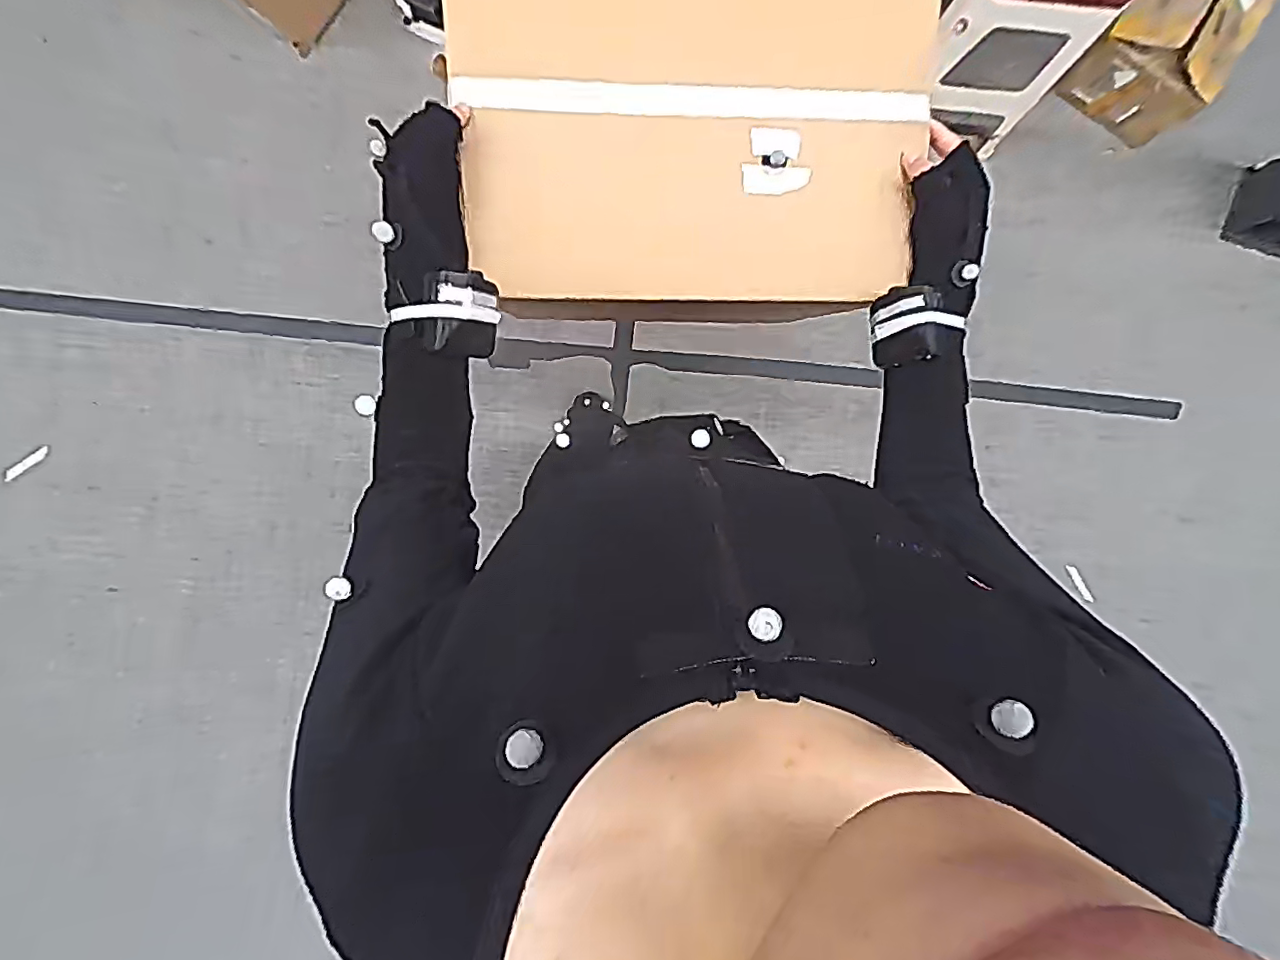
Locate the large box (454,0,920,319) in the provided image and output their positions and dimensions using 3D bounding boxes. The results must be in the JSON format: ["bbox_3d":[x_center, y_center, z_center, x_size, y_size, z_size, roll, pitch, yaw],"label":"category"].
[{"bbox_3d":[0.032,-0.358,0.617,0.408,0.320,0.320,-2,104,-5],"label":"large box"}]
